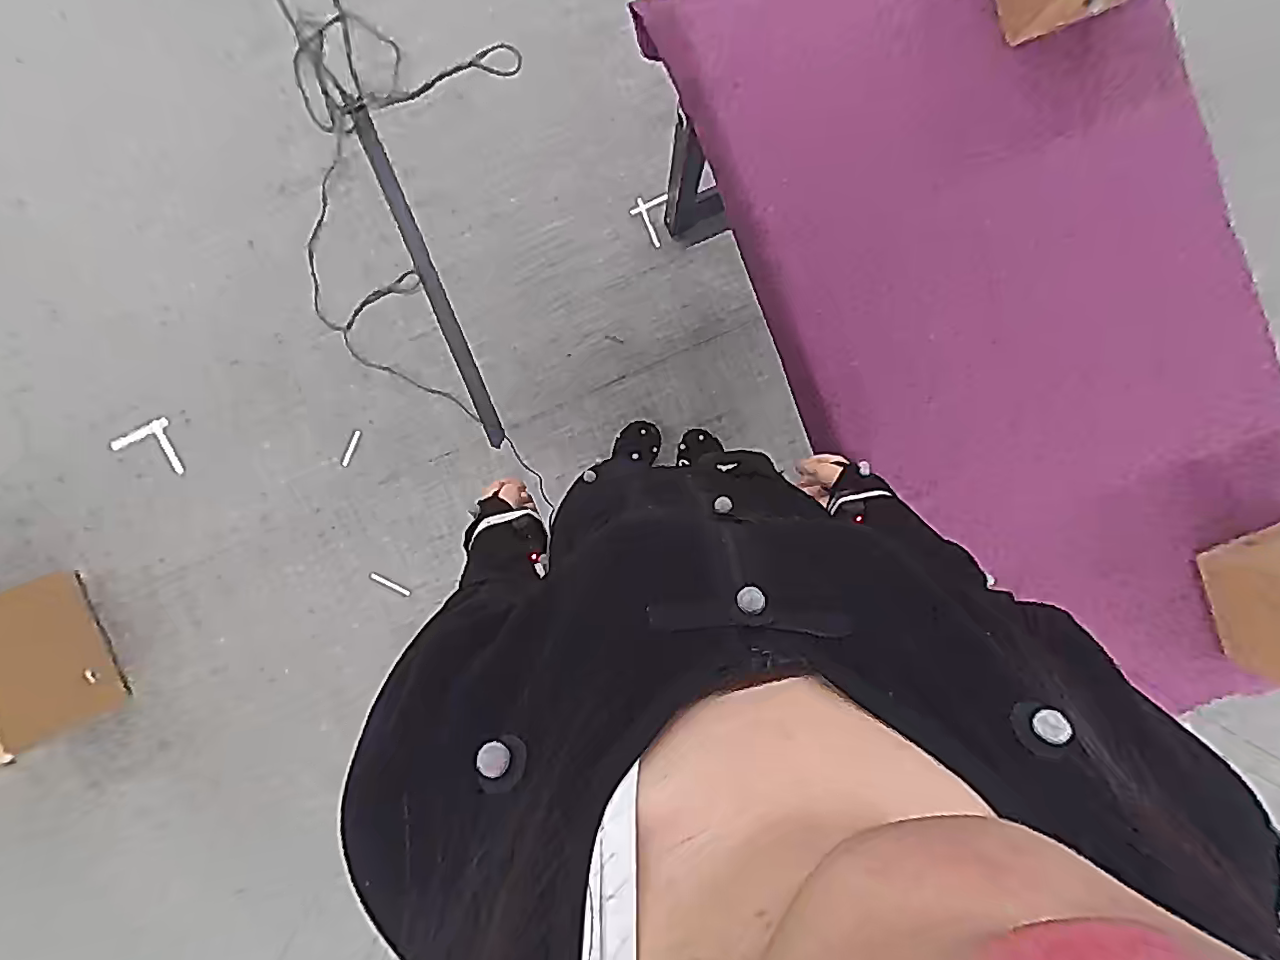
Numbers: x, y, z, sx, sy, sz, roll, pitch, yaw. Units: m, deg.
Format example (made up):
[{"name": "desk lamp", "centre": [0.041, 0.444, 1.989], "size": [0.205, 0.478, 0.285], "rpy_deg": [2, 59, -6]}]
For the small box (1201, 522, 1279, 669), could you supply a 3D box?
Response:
[{"name": "small box", "centre": [0.912, 0.158, 0.714], "size": [0.168, 0.176, 0.179], "rpy_deg": [-21, 96, 3]}]

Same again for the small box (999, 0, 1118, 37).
[{"name": "small box", "centre": [0.539, -0.683, 0.629], "size": [0.168, 0.176, 0.179], "rpy_deg": [-20, 97, 3]}]
